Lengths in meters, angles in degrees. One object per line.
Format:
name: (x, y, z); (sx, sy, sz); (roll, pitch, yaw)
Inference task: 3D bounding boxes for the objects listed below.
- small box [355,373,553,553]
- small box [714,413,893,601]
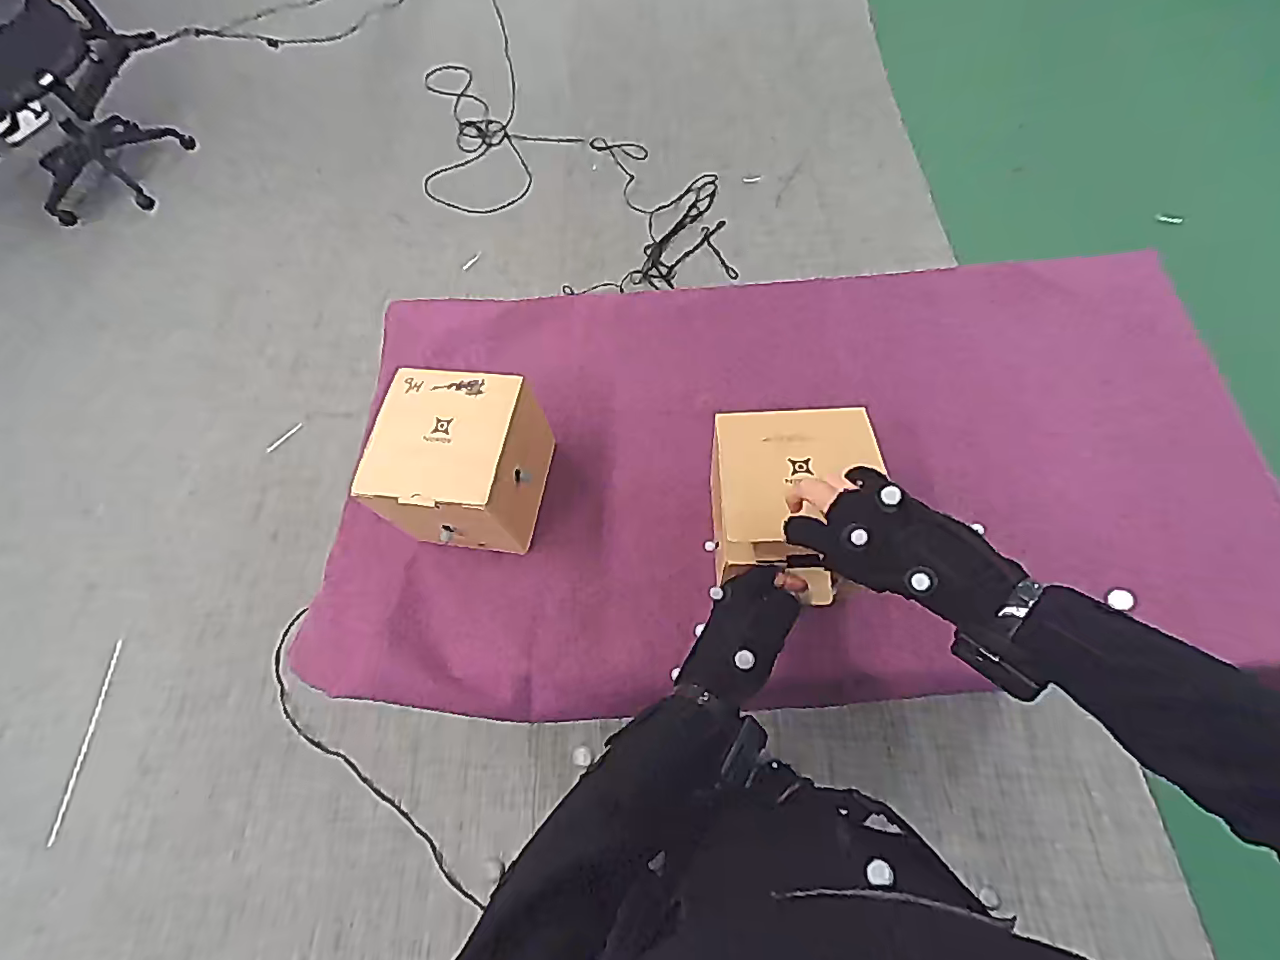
small box: (-0.222, -0.015, 0.701); (0.168, 0.176, 0.179); (6, 66, 8)
small box: (0.174, 0.041, 0.634); (0.168, 0.176, 0.179); (-2, 64, 5)
